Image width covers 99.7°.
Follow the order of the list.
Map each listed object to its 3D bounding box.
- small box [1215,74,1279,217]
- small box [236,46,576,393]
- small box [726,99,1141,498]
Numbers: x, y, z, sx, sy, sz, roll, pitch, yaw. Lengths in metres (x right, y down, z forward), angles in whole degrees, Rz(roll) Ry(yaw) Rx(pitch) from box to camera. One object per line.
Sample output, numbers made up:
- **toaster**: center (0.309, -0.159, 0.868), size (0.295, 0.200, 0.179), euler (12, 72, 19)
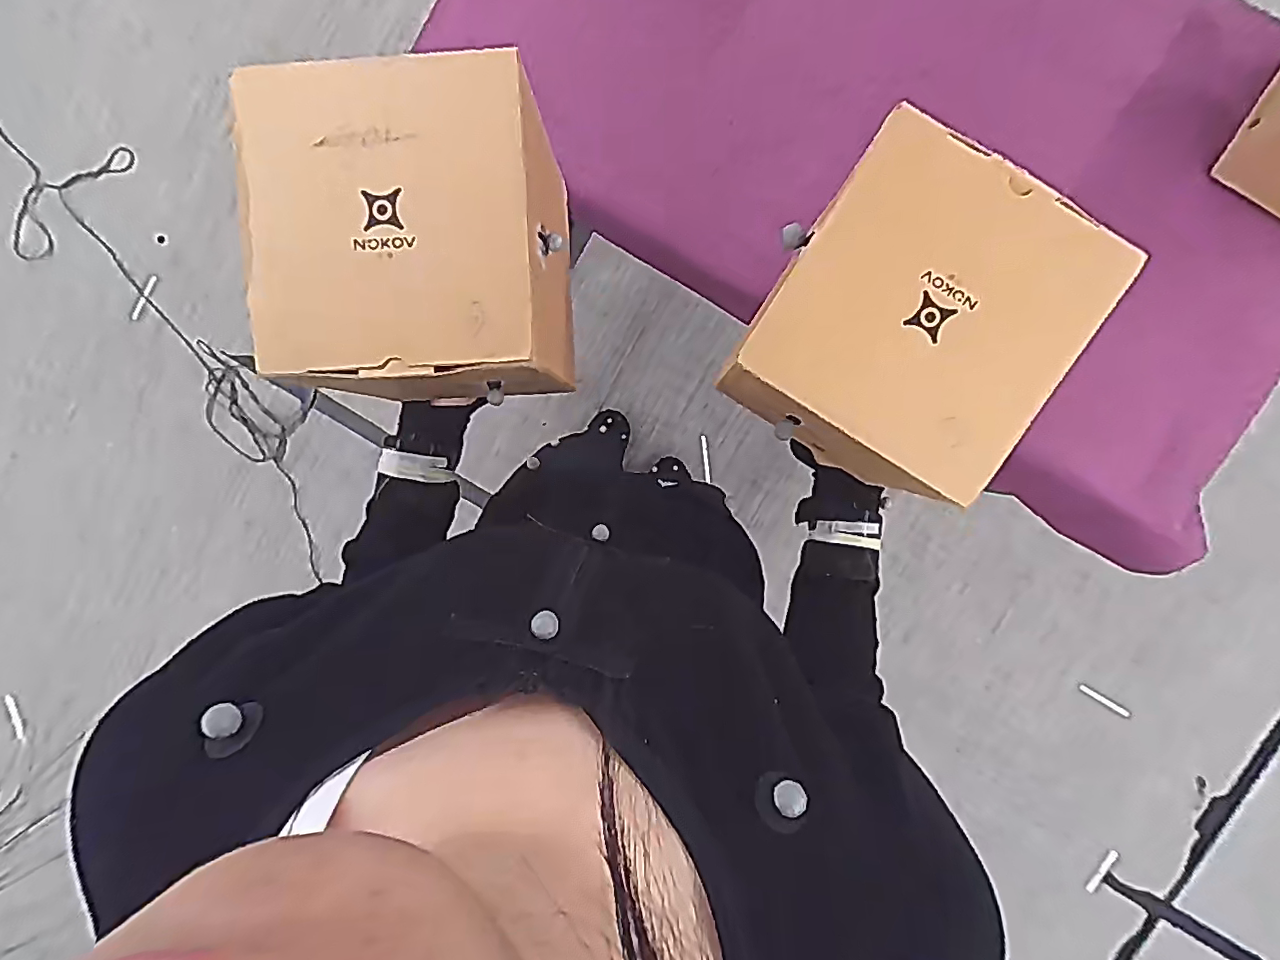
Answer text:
- **small box**: center (0.840, -0.415, 0.611), size (0.179, 0.176, 0.168), euler (31, 96, -1)
- **small box**: center (-0.140, -0.157, 0.388), size (0.168, 0.176, 0.179), euler (-3, 93, 1)
- **small box**: center (0.176, -0.108, 0.394), size (0.168, 0.176, 0.179), euler (32, 94, 0)
